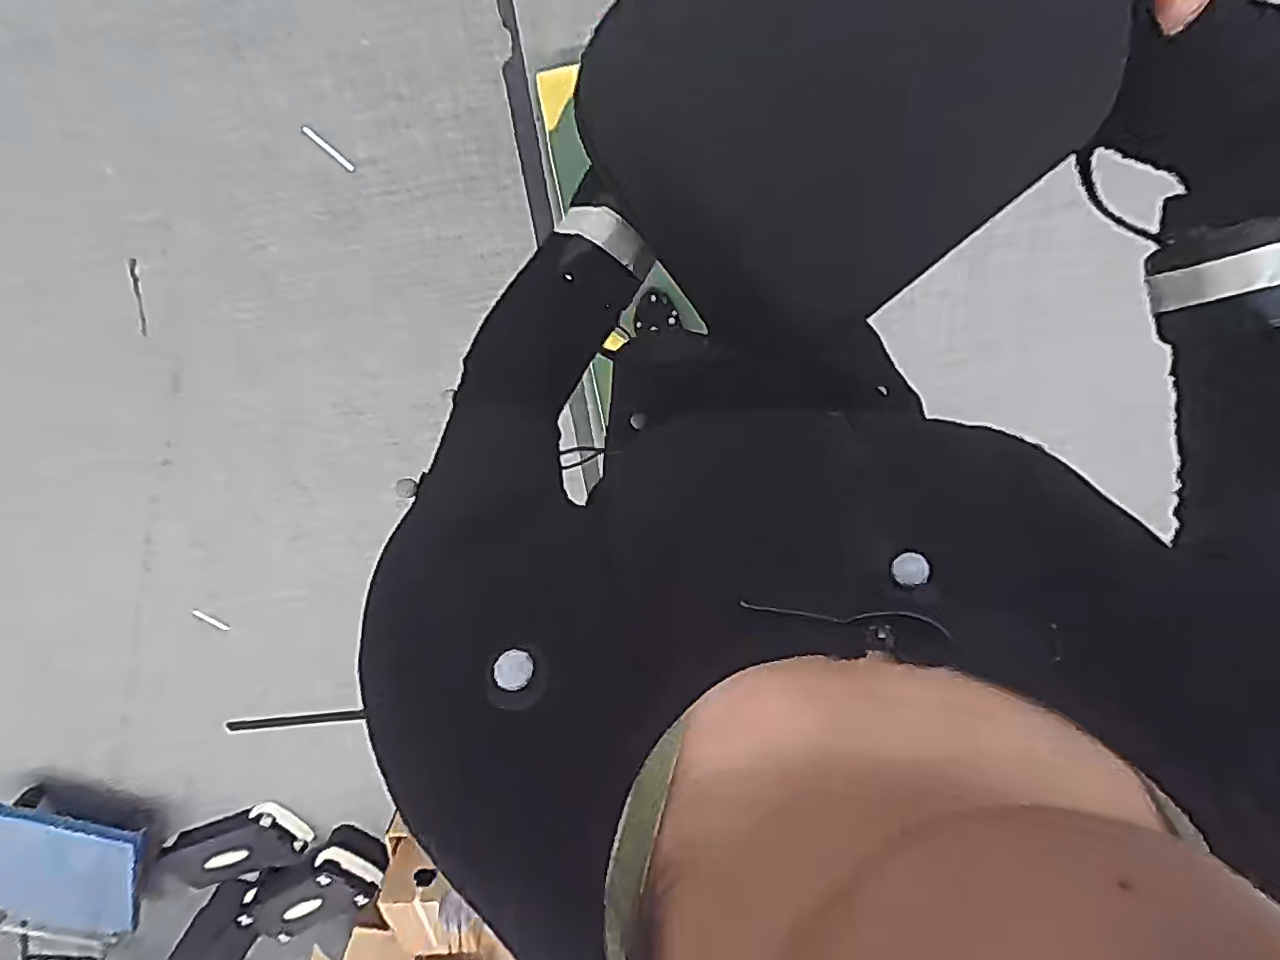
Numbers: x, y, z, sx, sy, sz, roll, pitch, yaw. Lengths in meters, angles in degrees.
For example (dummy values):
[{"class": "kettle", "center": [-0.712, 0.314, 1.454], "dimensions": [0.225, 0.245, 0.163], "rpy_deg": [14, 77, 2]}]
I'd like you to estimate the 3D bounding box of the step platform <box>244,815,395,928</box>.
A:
[{"class": "step platform", "center": [-1.461, 1.791, 2.463], "dimensions": [0.684, 0.204, 0.286], "rpy_deg": [-34, 113, 16]}]
